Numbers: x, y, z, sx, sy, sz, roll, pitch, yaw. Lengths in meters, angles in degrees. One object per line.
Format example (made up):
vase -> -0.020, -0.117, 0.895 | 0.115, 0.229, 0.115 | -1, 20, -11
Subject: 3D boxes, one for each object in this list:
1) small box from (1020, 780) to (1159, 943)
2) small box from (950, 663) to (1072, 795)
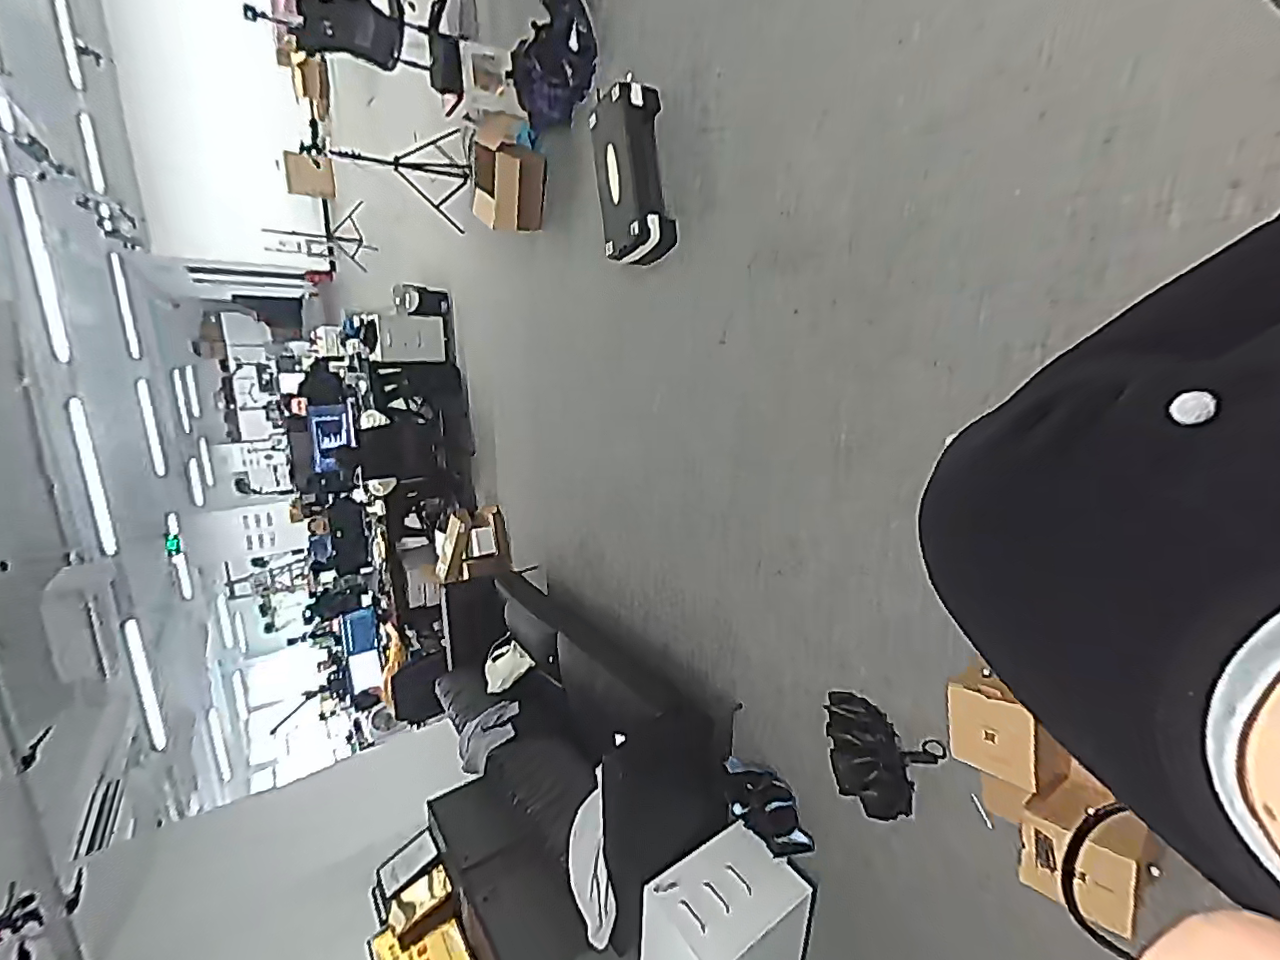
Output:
small box -> 0.886, 0.733, 1.069 | 0.179, 0.176, 0.168 | 7, 104, 51
small box -> 0.790, 0.516, 1.153 | 0.168, 0.176, 0.179 | 2, 101, 58
